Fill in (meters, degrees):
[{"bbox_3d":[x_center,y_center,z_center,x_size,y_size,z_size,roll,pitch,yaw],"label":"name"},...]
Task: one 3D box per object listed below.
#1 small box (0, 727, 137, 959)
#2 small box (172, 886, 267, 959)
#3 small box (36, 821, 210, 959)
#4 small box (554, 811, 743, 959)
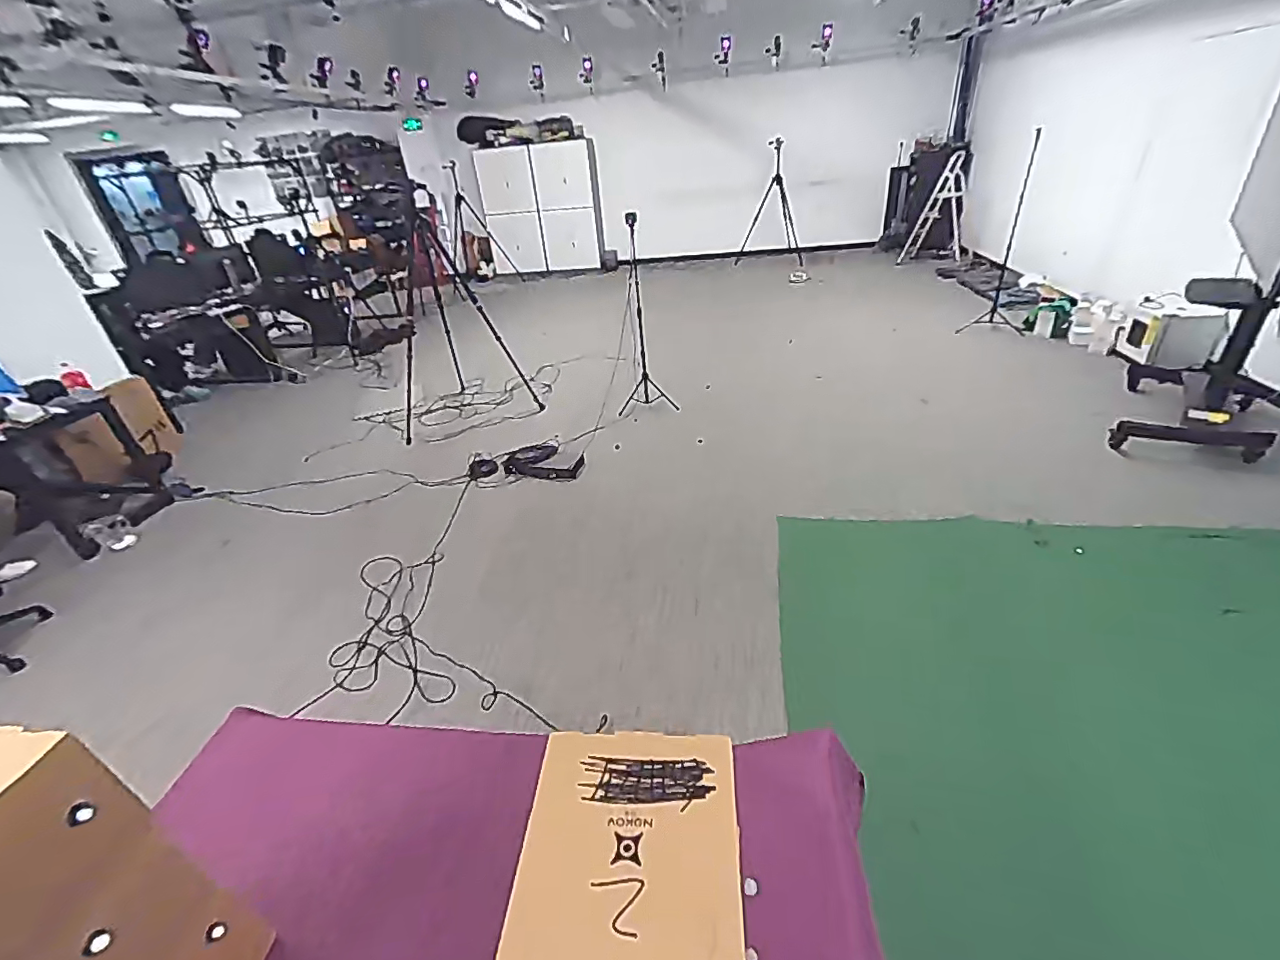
[{"bbox_3d":[-0.657,0.369,0.528,0.168,0.176,0.179,-2,31,8],"label":"small box"},{"bbox_3d":[-0.631,0.652,0.691,0.168,0.176,0.179,-2,31,7],"label":"small box"},{"bbox_3d":[-0.646,0.513,0.605,0.168,0.176,0.179,-1,30,8],"label":"small box"},{"bbox_3d":[0.018,0.473,0.542,0.168,0.176,0.179,0,31,10],"label":"small box"}]
